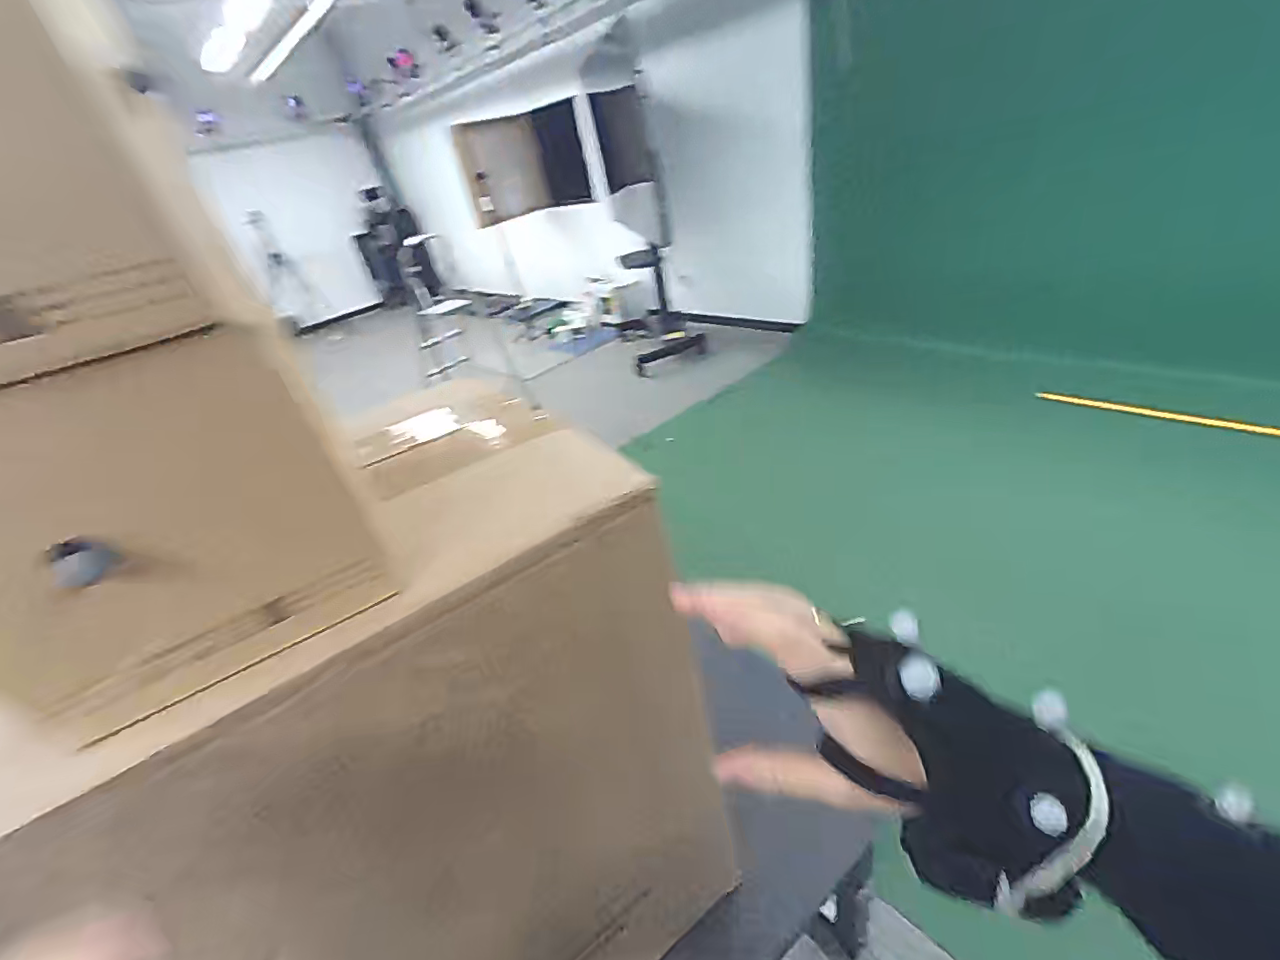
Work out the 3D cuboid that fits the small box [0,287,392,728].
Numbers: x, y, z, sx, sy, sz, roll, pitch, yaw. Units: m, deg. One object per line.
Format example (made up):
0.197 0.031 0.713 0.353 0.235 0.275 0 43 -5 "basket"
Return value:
-0.266 0.008 0.311 0.168 0.176 0.179 -27 36 -22 "small box"
